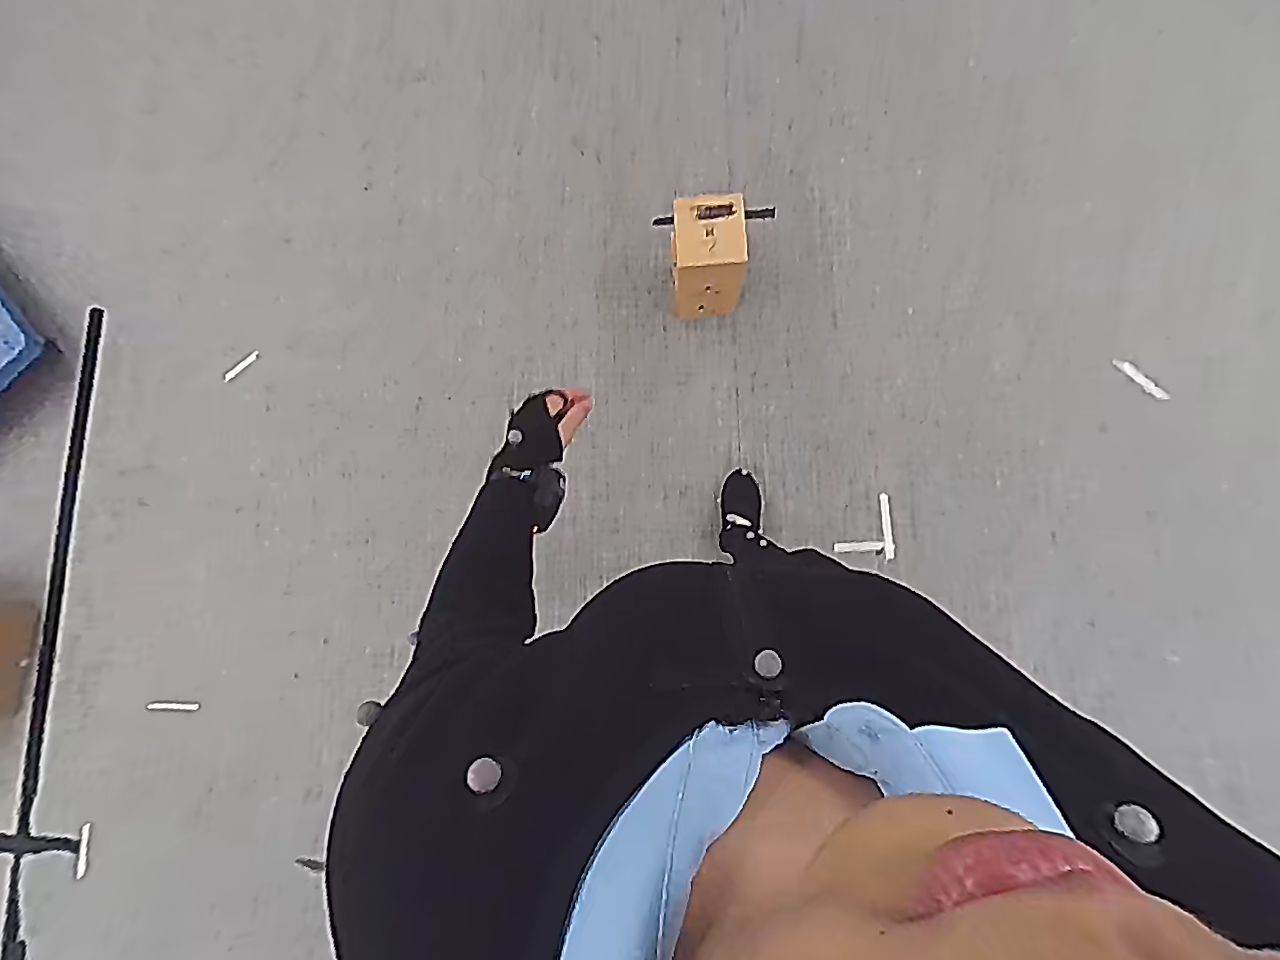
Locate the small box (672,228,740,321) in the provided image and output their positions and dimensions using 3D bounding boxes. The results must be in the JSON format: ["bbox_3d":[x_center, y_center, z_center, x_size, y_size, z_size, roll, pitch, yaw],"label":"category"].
[{"bbox_3d":[0.179,-0.570,1.512,0.168,0.176,0.179,-6,82,4],"label":"small box"}]
